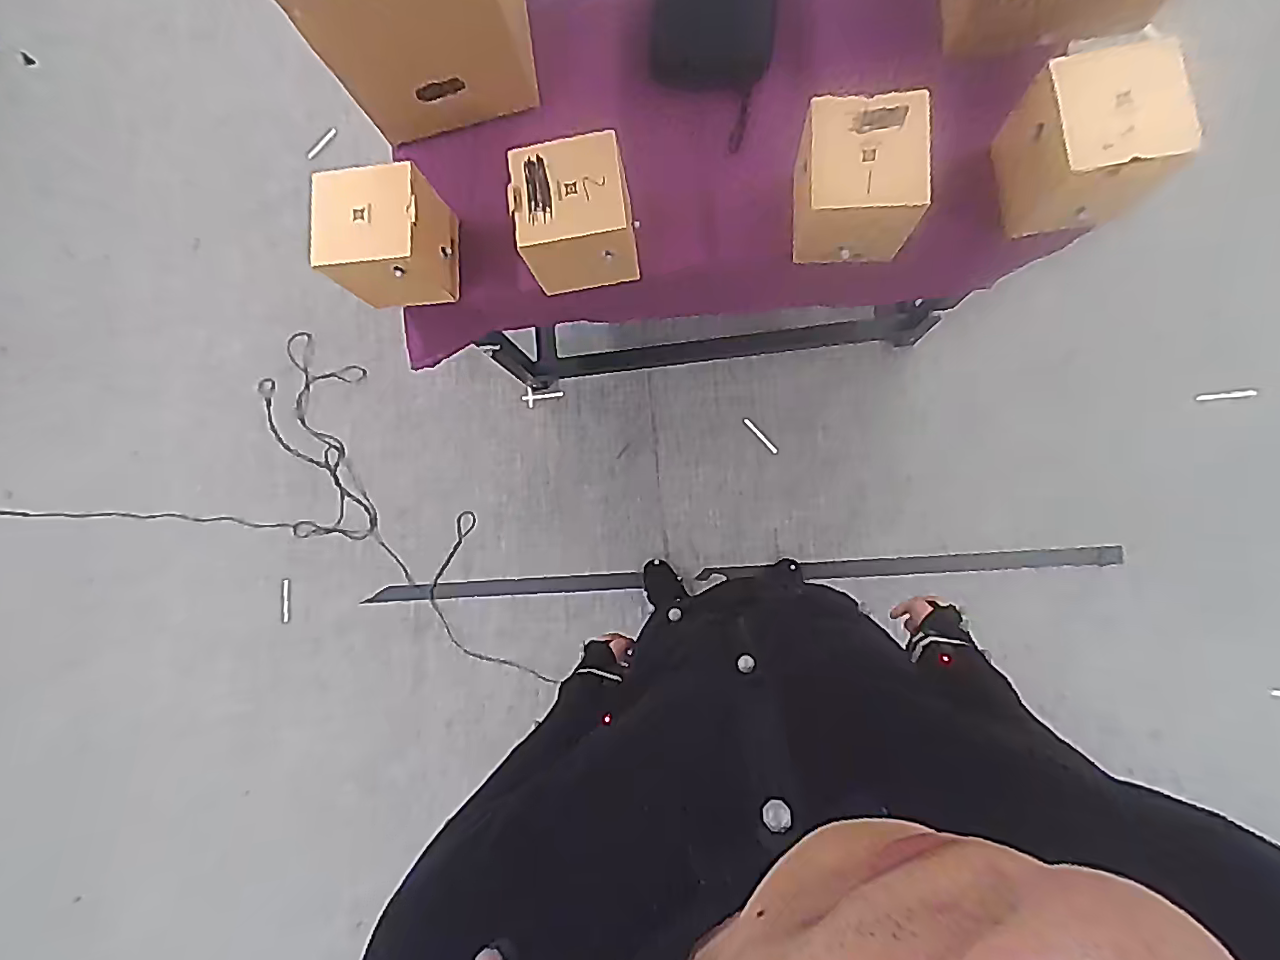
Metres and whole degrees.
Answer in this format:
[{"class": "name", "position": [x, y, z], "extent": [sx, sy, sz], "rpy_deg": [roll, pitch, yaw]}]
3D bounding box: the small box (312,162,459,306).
[{"class": "small box", "position": [-0.438, -0.420, 0.952], "extent": [0.179, 0.176, 0.168], "rpy_deg": [-4, 84, 6]}]

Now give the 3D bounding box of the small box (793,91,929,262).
[{"class": "small box", "position": [0.339, -0.470, 0.858], "extent": [0.168, 0.176, 0.179], "rpy_deg": [1, 86, 7]}]

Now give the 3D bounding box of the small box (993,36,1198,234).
[{"class": "small box", "position": [0.667, -0.508, 0.818], "extent": [0.168, 0.176, 0.179], "rpy_deg": [-6, 84, 8]}]
